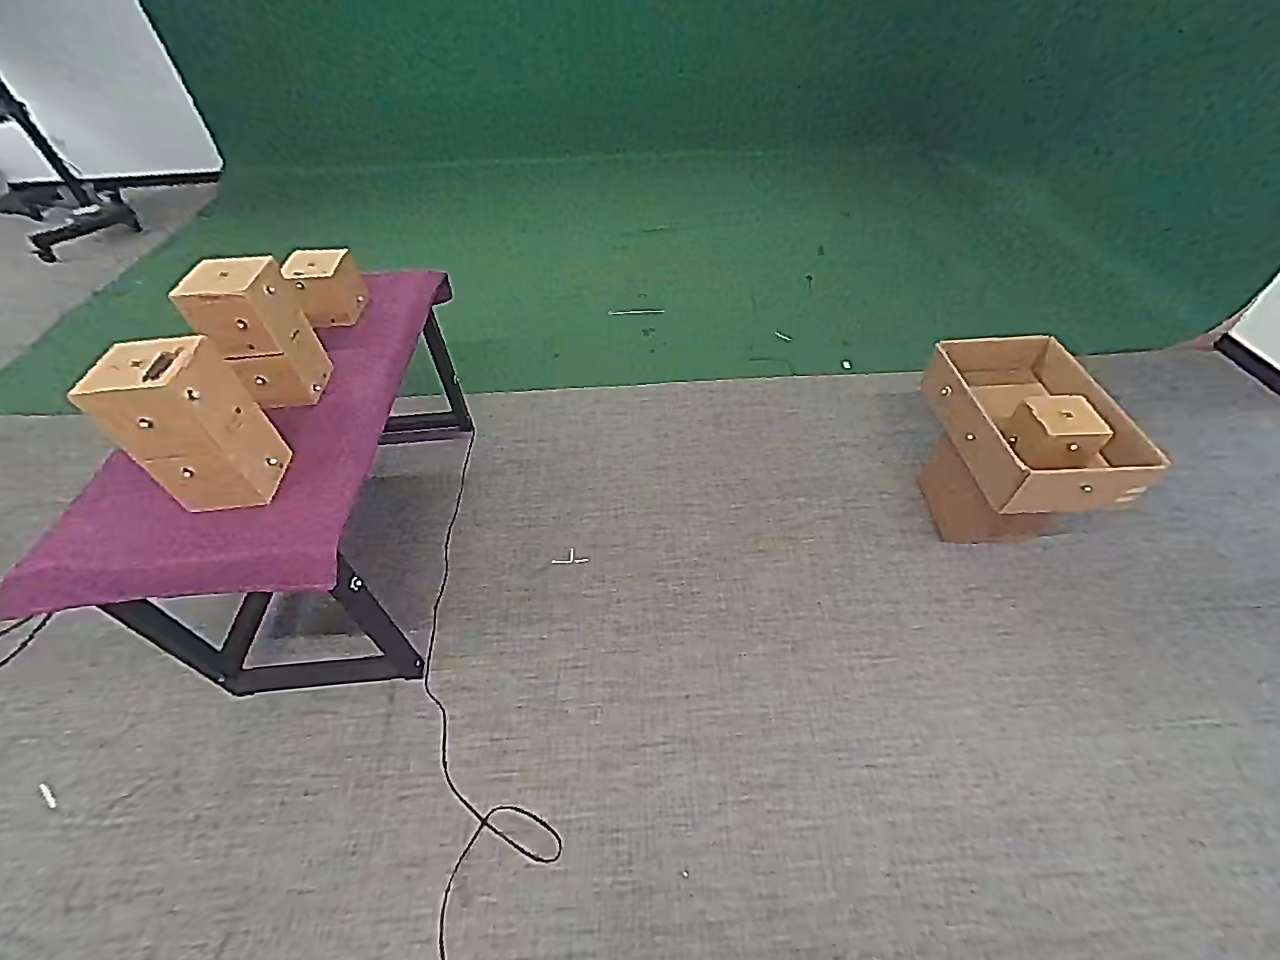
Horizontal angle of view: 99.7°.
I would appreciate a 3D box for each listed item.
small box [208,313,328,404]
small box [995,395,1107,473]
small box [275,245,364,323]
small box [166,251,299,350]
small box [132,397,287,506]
[{"bbox_3d":[-0.955,-0.314,1.412,0.179,0.176,0.168,-5,48,-2],"label":"small box"},{"bbox_3d":[1.210,-0.134,1.607,0.179,0.176,0.168,-2,49,1],"label":"small box"},{"bbox_3d":[-0.983,-0.605,1.672,0.168,0.176,0.179,-4,48,-1],"label":"small box"},{"bbox_3d":[-0.955,-0.423,1.290,0.168,0.176,0.179,-4,48,-3],"label":"small box"},{"bbox_3d":[-0.922,-0.058,1.180,0.179,0.176,0.168,-5,48,-3],"label":"small box"}]
